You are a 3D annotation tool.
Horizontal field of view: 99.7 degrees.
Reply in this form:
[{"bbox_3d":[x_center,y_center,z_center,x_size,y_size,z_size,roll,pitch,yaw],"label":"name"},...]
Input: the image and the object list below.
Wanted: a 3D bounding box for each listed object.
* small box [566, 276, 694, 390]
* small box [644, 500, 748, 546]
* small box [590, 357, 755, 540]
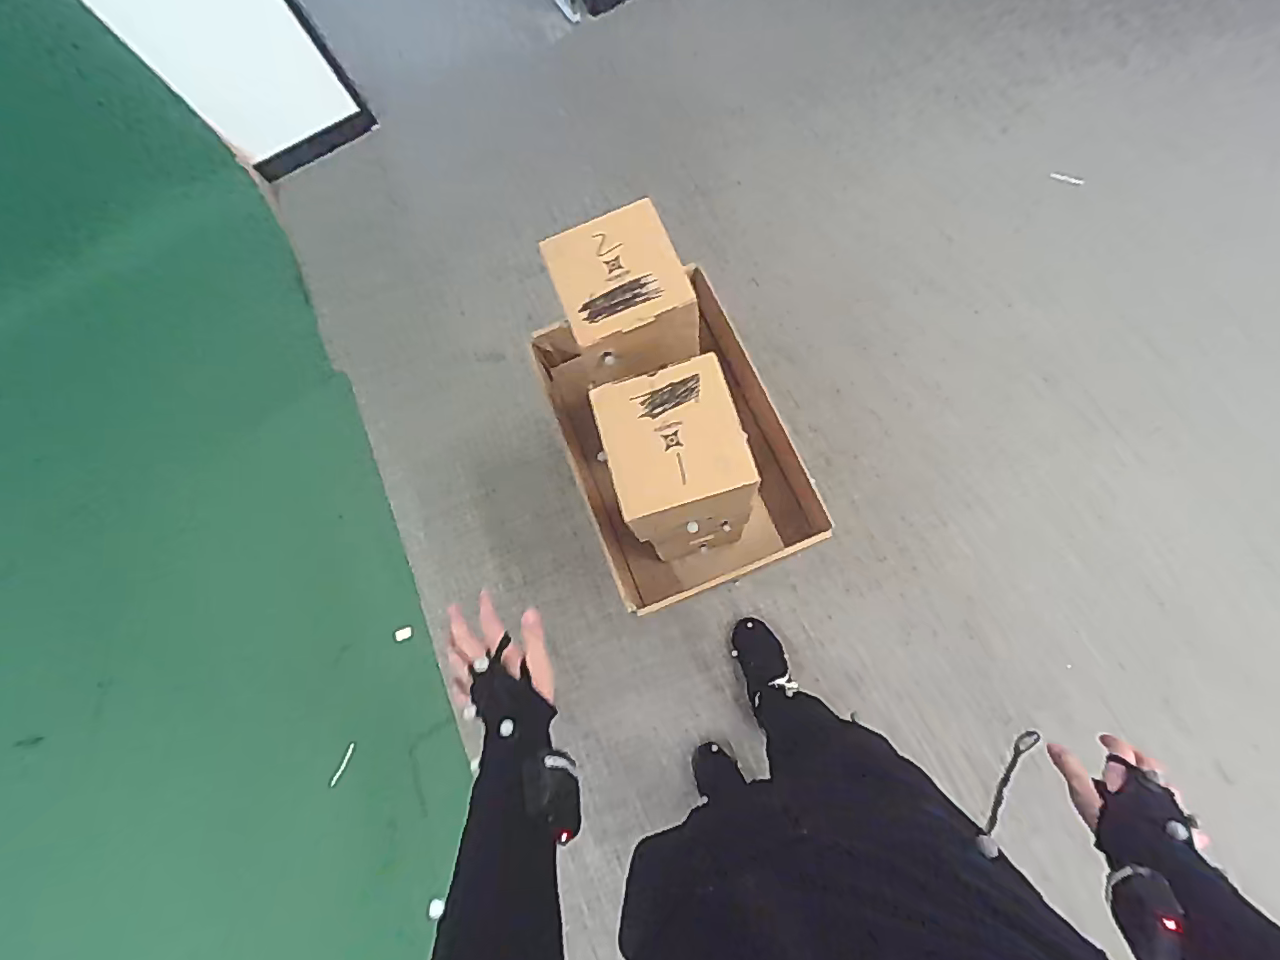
[{"bbox_3d":[-0.013,-0.217,0.959,0.168,0.176,0.179,-23,76,0],"label":"small box"},{"bbox_3d":[0.070,0.002,0.887,0.168,0.176,0.179,-17,73,2],"label":"small box"},{"bbox_3d":[0.043,-0.032,0.729,0.168,0.176,0.179,-17,75,2],"label":"small box"}]
